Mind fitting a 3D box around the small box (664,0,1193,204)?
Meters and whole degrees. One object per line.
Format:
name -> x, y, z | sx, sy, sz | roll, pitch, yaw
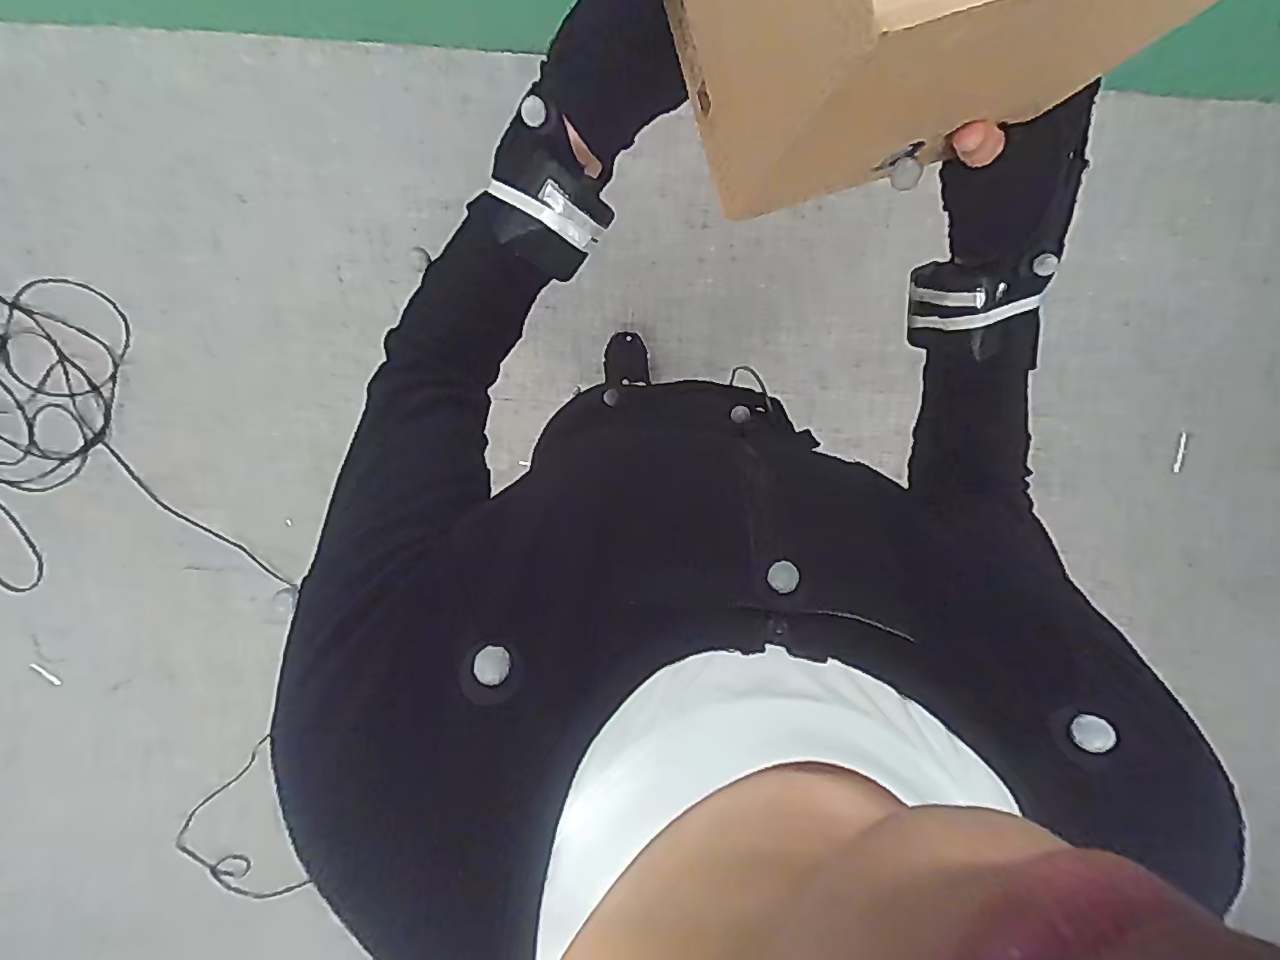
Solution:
small box -> 0.114, -0.244, 0.223 | 0.179, 0.176, 0.168 | -19, 100, -4
